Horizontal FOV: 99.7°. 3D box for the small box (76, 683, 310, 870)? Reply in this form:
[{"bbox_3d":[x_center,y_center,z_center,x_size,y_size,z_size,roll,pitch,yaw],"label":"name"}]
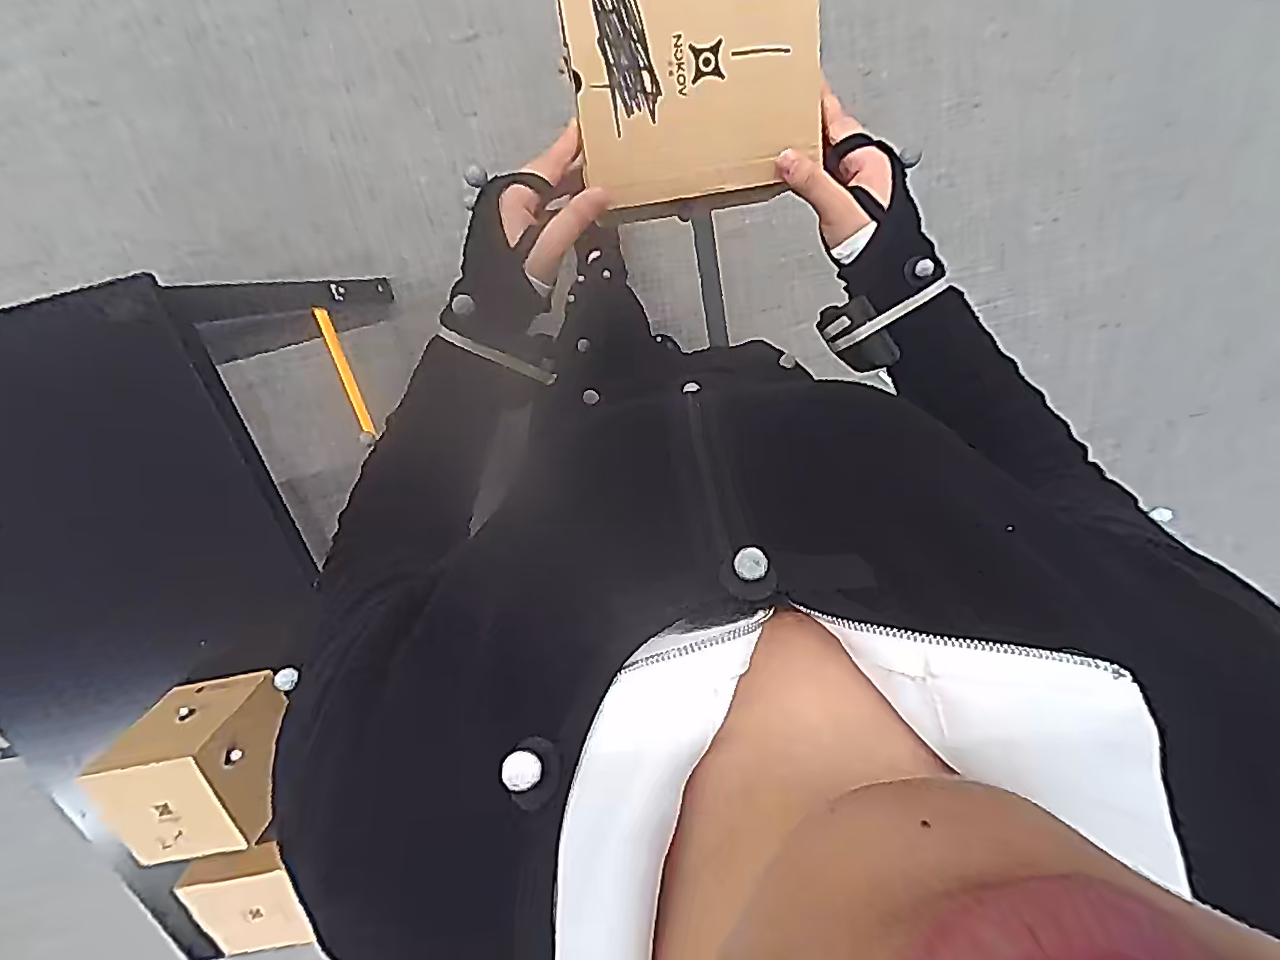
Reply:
[{"bbox_3d":[-0.636,0.423,0.798,0.168,0.176,0.179,-11,111,3],"label":"small box"}]

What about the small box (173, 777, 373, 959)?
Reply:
[{"bbox_3d":[-0.575,0.620,0.875,0.179,0.176,0.168,-13,112,3],"label":"small box"}]

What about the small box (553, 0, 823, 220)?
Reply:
[{"bbox_3d":[0.033,-0.317,0.438,0.179,0.176,0.168,-9,112,1],"label":"small box"}]
